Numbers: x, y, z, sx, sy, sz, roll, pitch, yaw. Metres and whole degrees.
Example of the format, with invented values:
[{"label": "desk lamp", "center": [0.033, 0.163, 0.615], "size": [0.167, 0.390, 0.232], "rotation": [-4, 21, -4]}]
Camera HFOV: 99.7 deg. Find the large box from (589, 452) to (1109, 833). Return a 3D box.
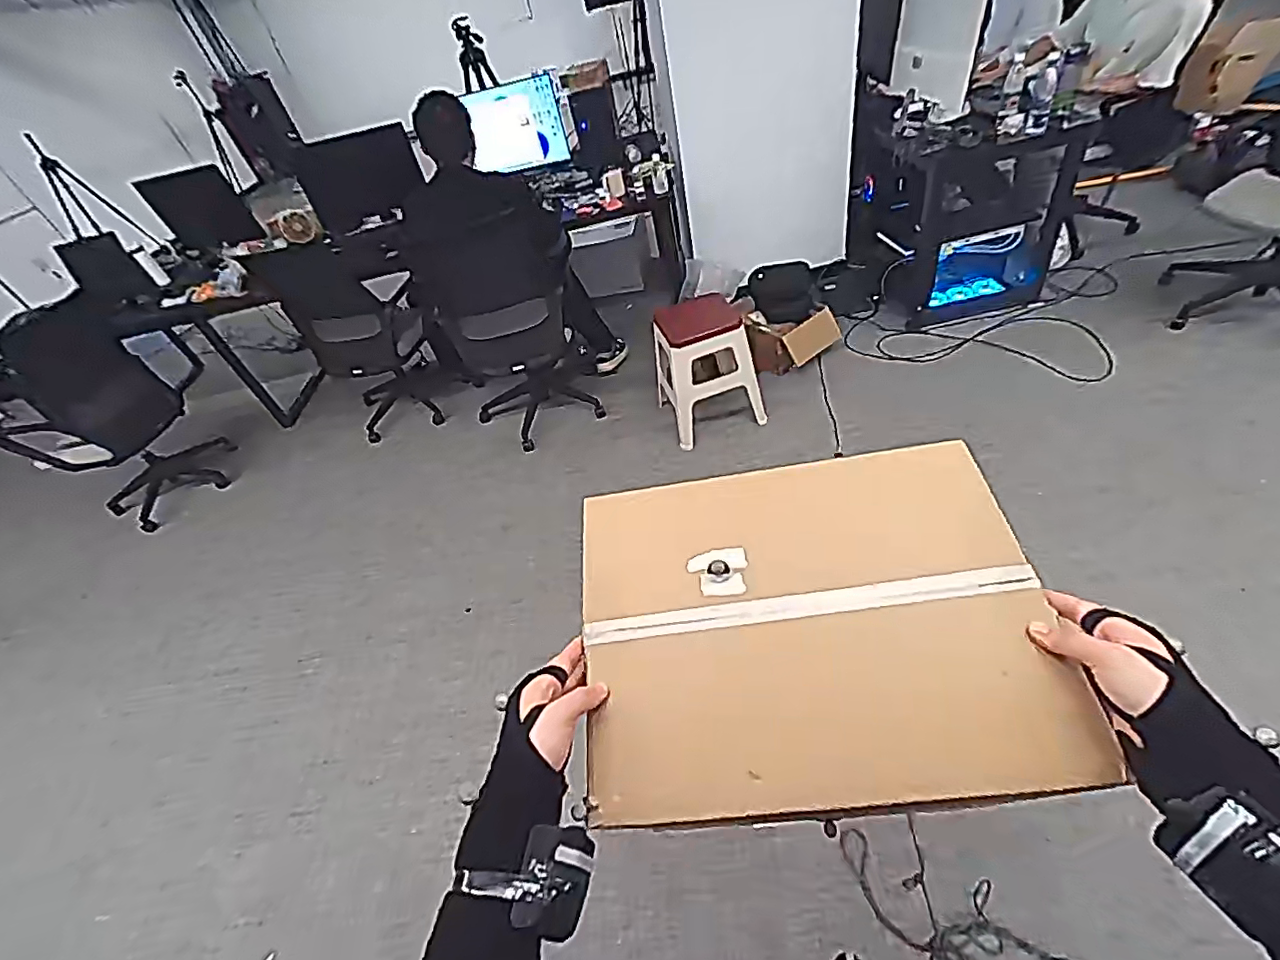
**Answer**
[{"label": "large box", "center": [0.178, 0.209, 0.630], "size": [0.408, 0.320, 0.320], "rotation": [-10, 54, 7]}]
